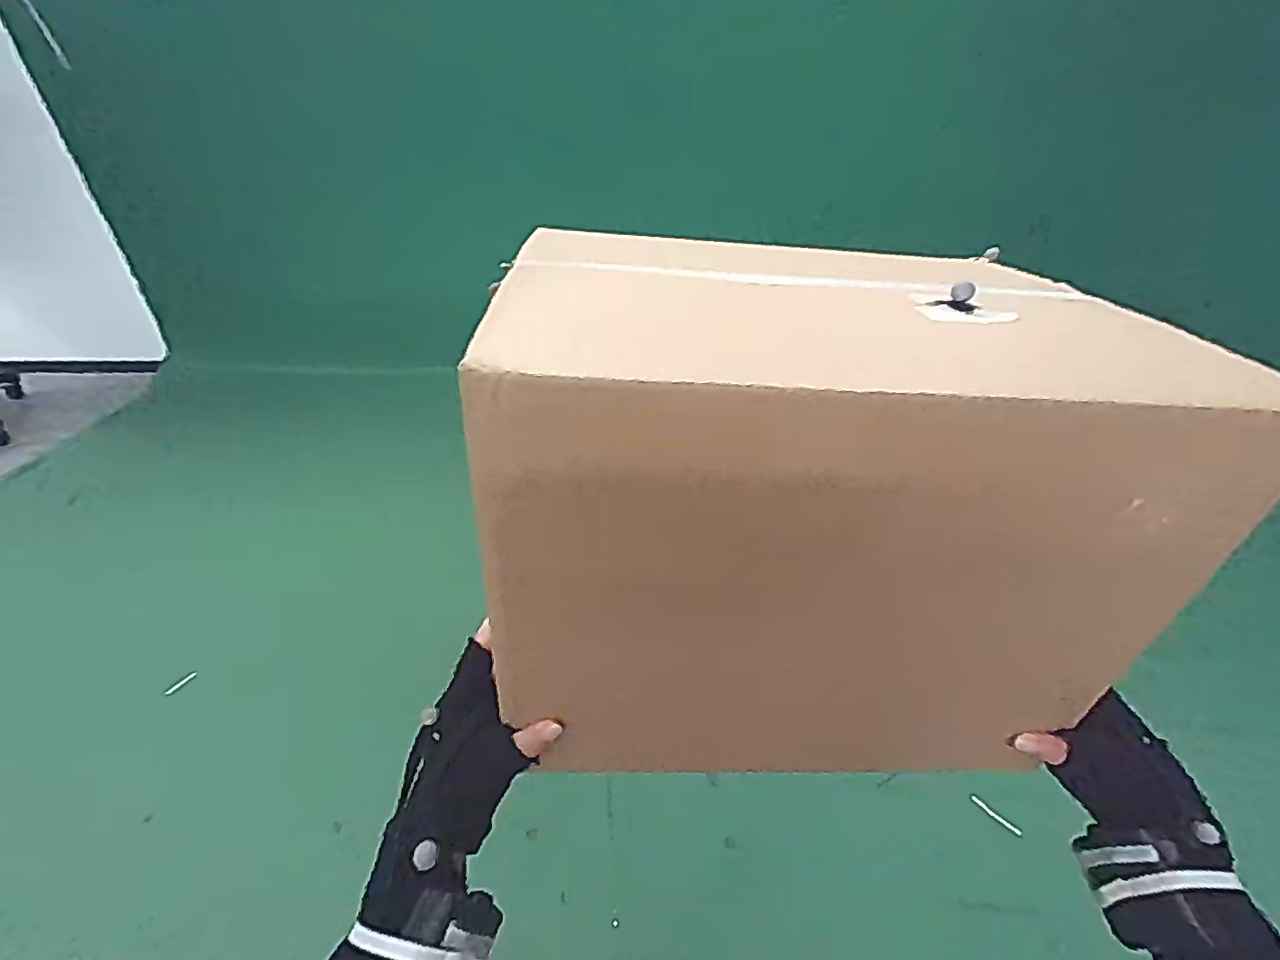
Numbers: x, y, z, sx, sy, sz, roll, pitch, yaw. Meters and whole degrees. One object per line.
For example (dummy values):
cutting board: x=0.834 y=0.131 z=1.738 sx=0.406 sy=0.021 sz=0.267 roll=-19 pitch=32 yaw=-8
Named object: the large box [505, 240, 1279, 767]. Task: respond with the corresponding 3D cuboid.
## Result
large box: x=0.113 y=0.007 z=0.451 sx=0.408 sy=0.320 sz=0.320 roll=3 pitch=34 yaw=-6
